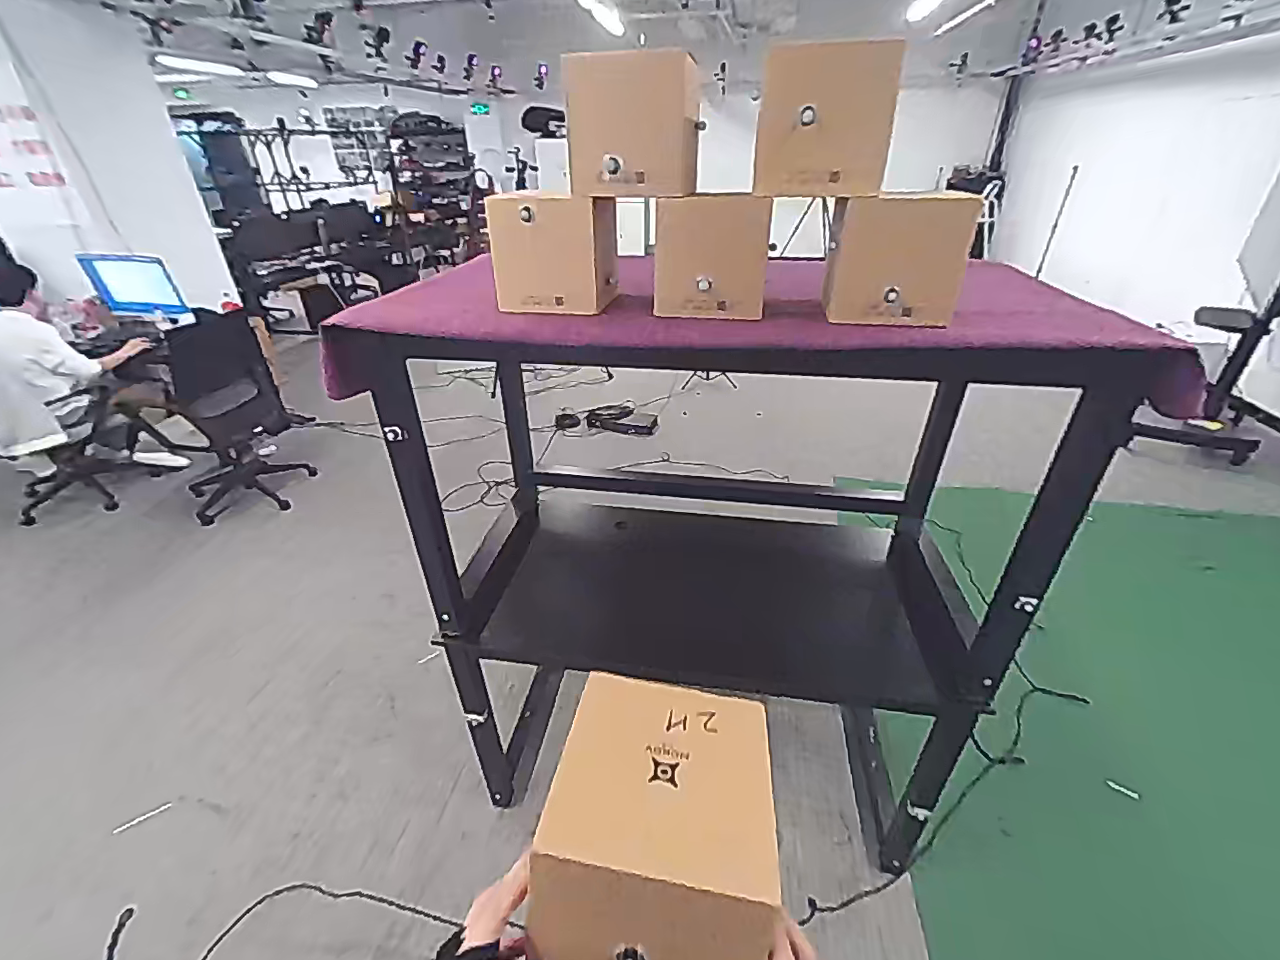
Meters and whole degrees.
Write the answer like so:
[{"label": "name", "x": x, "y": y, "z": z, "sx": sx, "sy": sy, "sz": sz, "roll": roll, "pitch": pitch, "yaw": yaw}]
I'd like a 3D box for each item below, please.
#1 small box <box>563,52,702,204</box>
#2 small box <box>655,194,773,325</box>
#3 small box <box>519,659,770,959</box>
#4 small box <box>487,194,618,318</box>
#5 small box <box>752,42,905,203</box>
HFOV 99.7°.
[{"label": "small box", "x": -0.004, "y": -0.508, "z": 0.797, "sx": 0.168, "sy": 0.176, "sz": 0.179, "roll": 5, "pitch": 31, "yaw": 11}, {"label": "small box", "x": 0.116, "y": -0.355, "z": 0.857, "sx": 0.168, "sy": 0.176, "sz": 0.179, "roll": 5, "pitch": 31, "yaw": 9}, {"label": "small box", "x": 0.008, "y": 0.285, "z": 0.449, "sx": 0.168, "sy": 0.176, "sz": 0.179, "roll": 9, "pitch": 22, "yaw": 6}, {"label": "small box", "x": -0.134, "y": -0.375, "z": 0.893, "sx": 0.168, "sy": 0.176, "sz": 0.179, "roll": 4, "pitch": 29, "yaw": 8}, {"label": "small box", "x": 0.249, "y": -0.482, "z": 0.752, "sx": 0.168, "sy": 0.176, "sz": 0.179, "roll": 5, "pitch": 30, "yaw": 10}]
